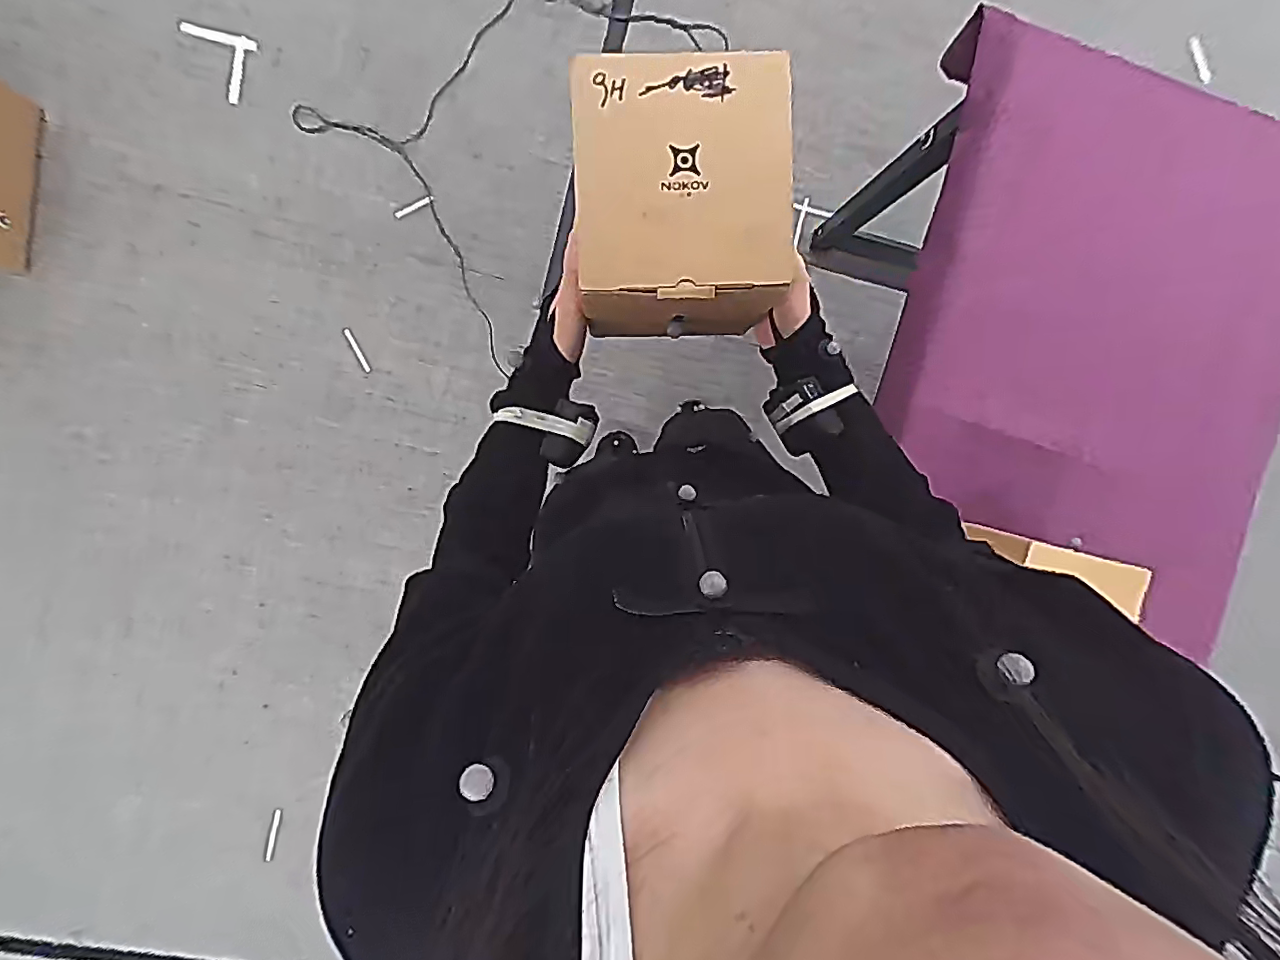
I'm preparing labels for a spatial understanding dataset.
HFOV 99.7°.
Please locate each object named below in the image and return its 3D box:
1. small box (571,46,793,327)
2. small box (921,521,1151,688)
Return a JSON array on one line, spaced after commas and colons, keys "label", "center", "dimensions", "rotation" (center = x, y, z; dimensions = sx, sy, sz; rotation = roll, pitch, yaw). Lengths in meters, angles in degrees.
[{"label": "small box", "center": [0.031, -0.237, 0.483], "dimensions": [0.168, 0.176, 0.179], "rotation": [-2, 94, -2]}, {"label": "small box", "center": [0.531, 0.160, 0.753], "dimensions": [0.179, 0.176, 0.168], "rotation": [14, 94, -7]}]
